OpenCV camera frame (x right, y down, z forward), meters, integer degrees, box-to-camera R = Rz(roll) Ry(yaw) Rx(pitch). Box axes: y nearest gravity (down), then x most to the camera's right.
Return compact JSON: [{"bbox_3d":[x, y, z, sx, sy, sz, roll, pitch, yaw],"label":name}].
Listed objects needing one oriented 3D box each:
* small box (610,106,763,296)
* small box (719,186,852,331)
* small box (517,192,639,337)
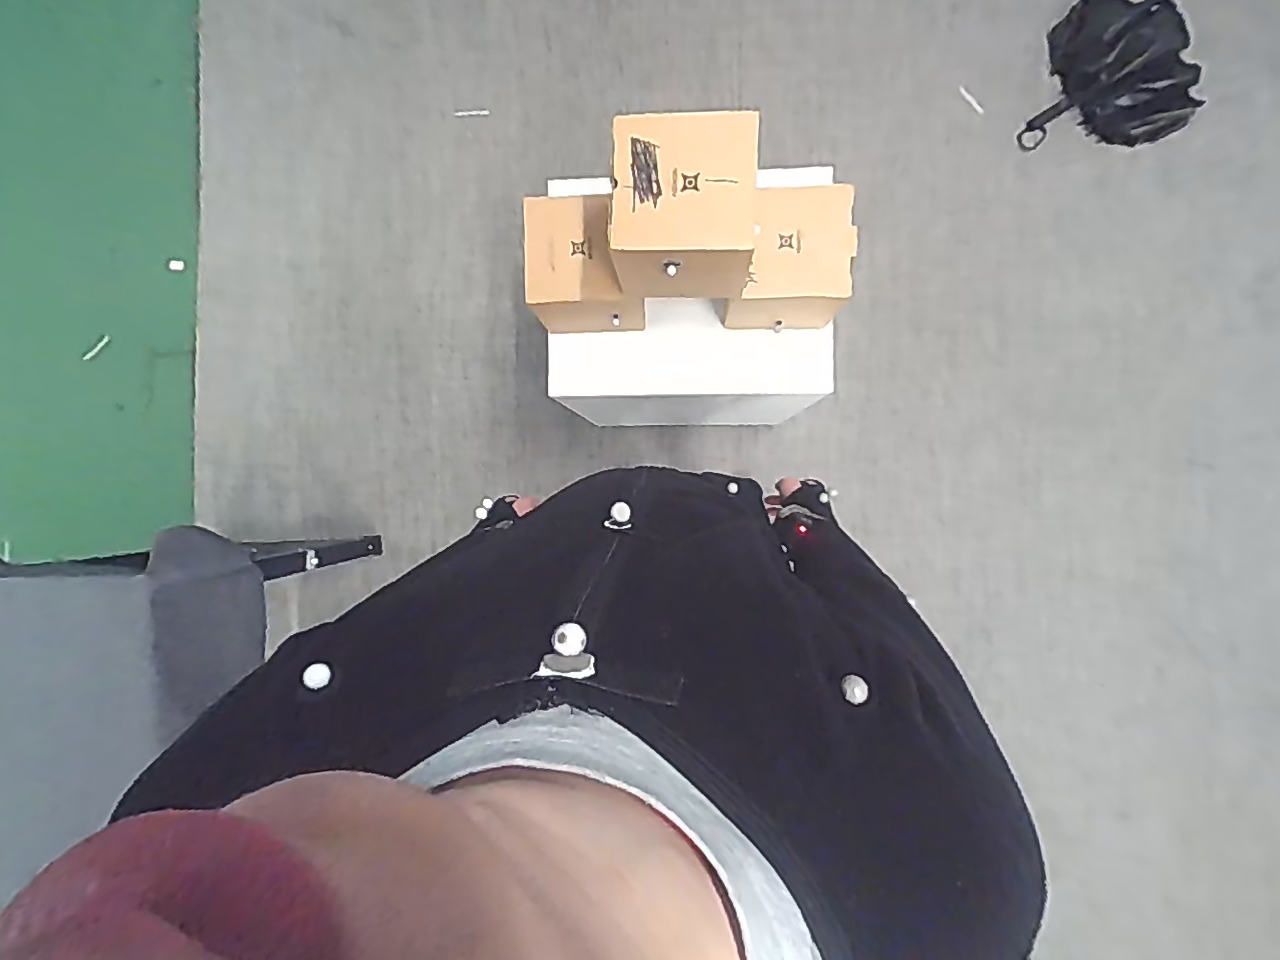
[{"bbox_3d":[0.058,-0.348,0.704,0.179,0.176,0.168,1,89,3],"label":"small box"},{"bbox_3d":[0.222,-0.343,0.861,0.179,0.176,0.168,0,89,4],"label":"small box"},{"bbox_3d":[-0.090,-0.338,0.874,0.179,0.176,0.168,-3,88,2],"label":"small box"}]
